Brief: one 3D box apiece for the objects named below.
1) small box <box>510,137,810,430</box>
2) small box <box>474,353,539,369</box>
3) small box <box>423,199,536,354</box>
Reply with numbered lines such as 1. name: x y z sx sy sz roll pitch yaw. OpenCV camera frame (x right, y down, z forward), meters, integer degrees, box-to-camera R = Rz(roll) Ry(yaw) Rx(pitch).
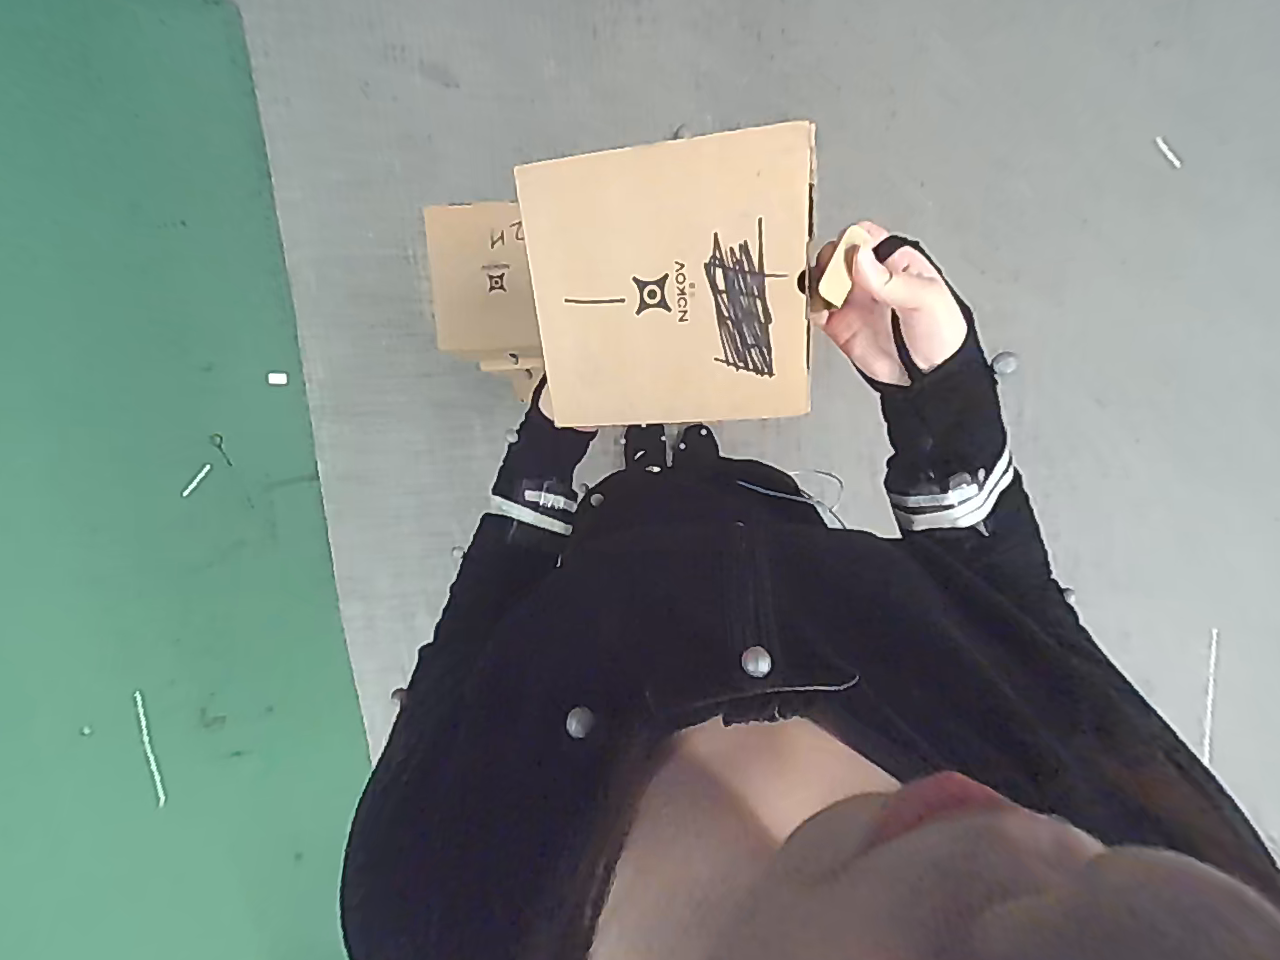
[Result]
1. small box: 0.026 -0.142 0.409 0.179 0.176 0.168 -1 112 12
2. small box: -0.181 -0.279 0.910 0.168 0.176 0.179 -4 99 0
3. small box: -0.181 -0.267 0.745 0.168 0.176 0.179 -2 99 -1
